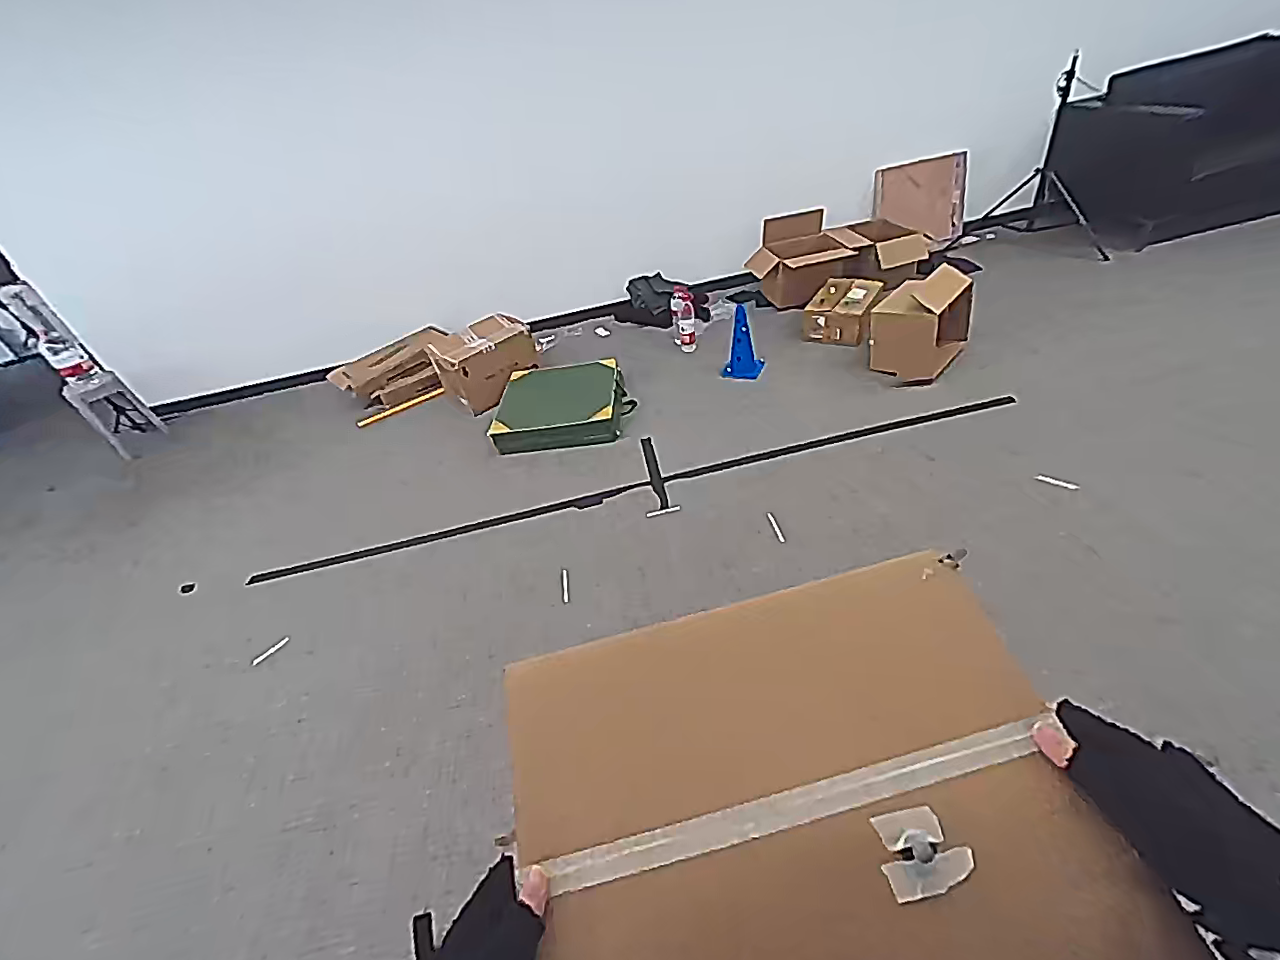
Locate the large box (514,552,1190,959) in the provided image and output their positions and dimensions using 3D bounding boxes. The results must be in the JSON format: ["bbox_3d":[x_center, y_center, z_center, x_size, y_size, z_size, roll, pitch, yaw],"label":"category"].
[{"bbox_3d":[0.128,0.322,0.524,0.408,0.320,0.320,-14,54,-3],"label":"large box"}]
